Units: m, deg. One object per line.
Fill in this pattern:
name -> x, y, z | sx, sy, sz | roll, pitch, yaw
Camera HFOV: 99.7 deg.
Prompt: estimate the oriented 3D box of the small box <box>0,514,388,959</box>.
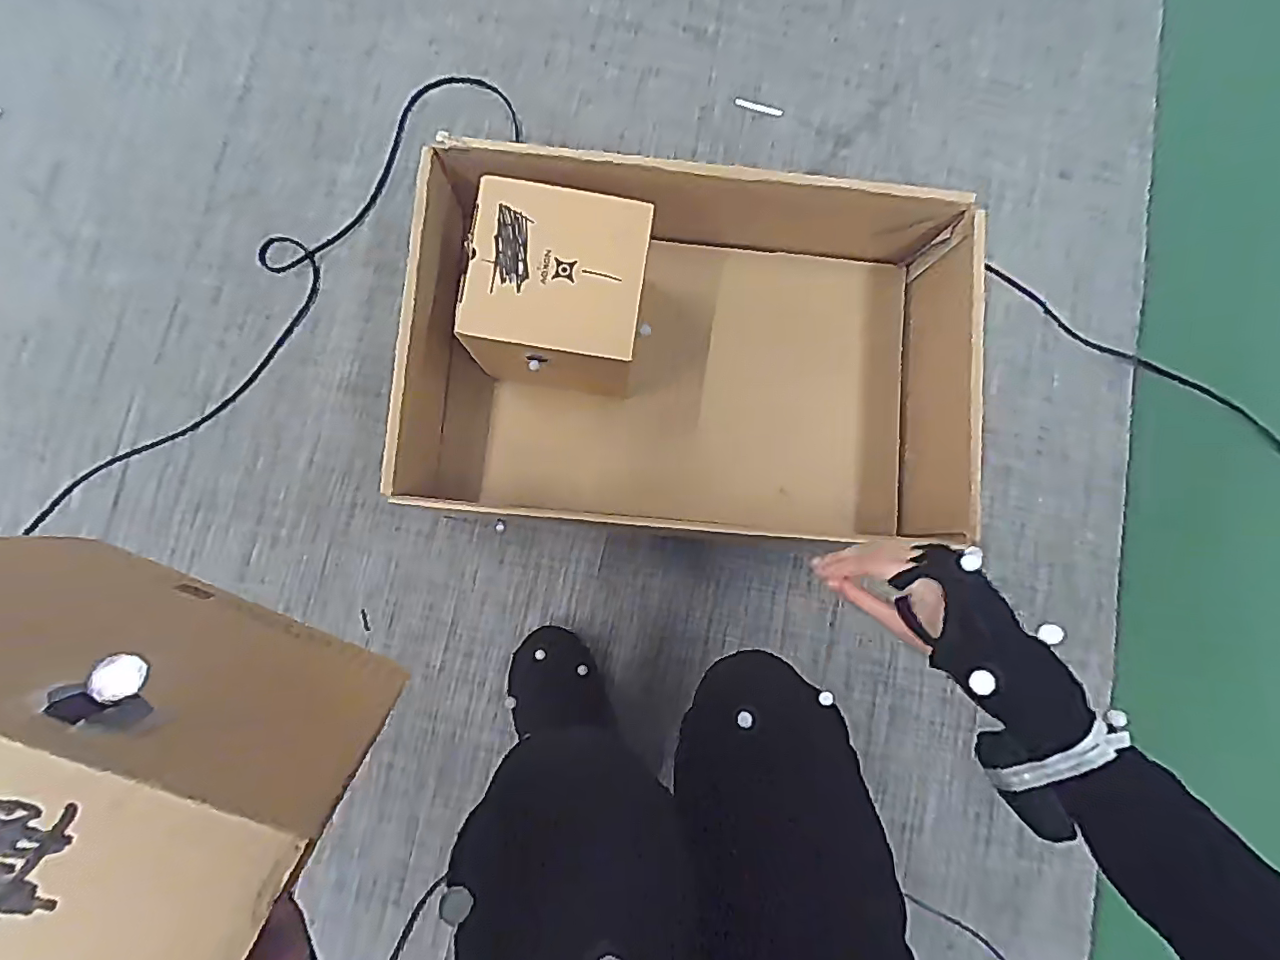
small box -> -0.207, 0.122, 0.173 | 0.168, 0.176, 0.179 | 29, 78, -12
